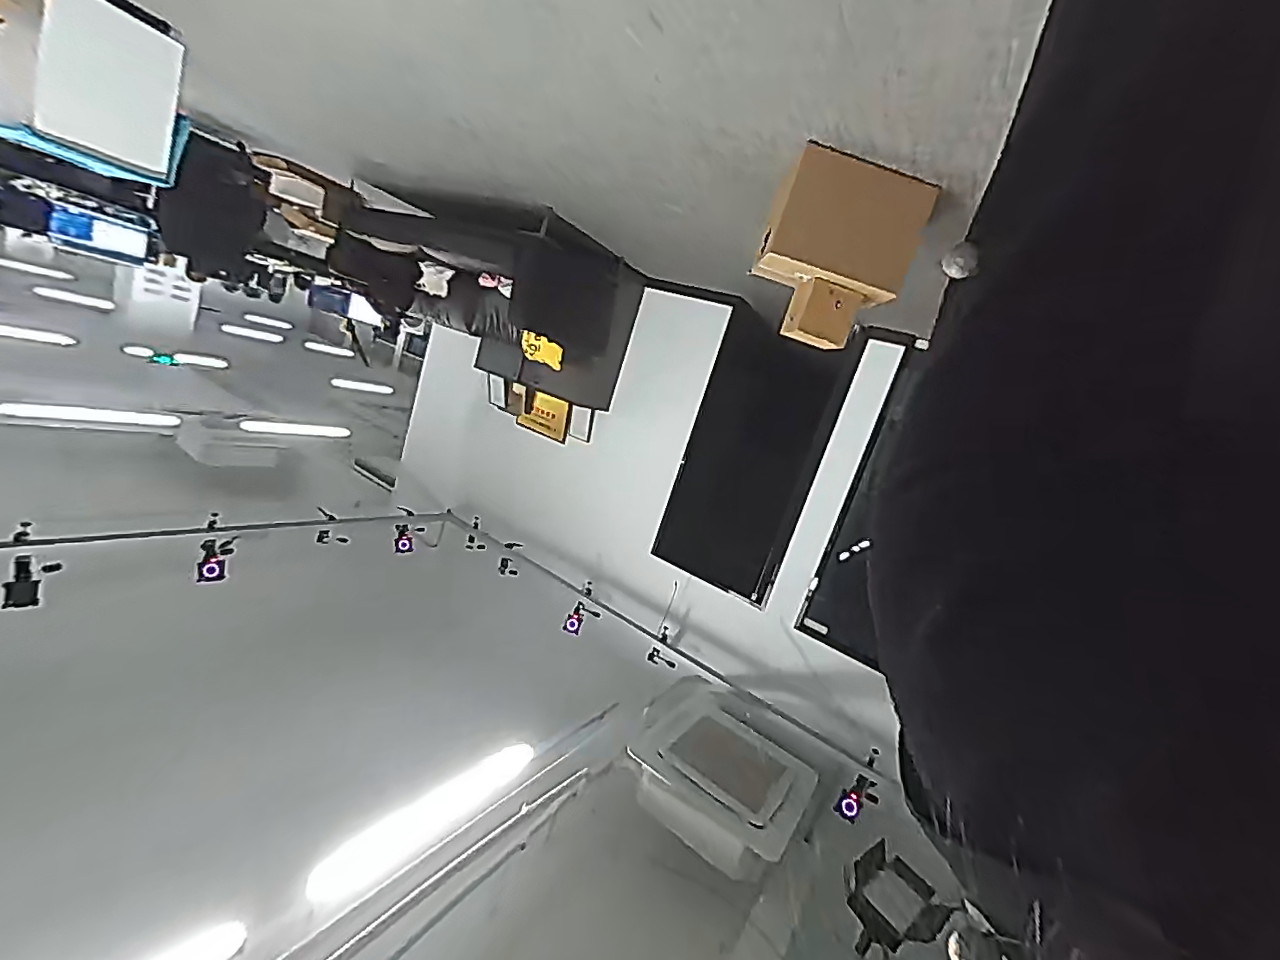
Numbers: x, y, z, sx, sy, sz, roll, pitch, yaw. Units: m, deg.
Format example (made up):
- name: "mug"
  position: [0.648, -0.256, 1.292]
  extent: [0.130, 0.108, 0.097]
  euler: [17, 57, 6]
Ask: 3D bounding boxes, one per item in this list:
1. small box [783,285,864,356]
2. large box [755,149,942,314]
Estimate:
- name: "small box"
  position: [0.585, -0.509, 1.730]
  extent: [0.168, 0.176, 0.179]
  euler: [18, -169, -6]
- name: "large box"
  position: [0.622, -0.748, 1.677]
  extent: [0.408, 0.320, 0.320]
  euler: [20, -170, -2]
